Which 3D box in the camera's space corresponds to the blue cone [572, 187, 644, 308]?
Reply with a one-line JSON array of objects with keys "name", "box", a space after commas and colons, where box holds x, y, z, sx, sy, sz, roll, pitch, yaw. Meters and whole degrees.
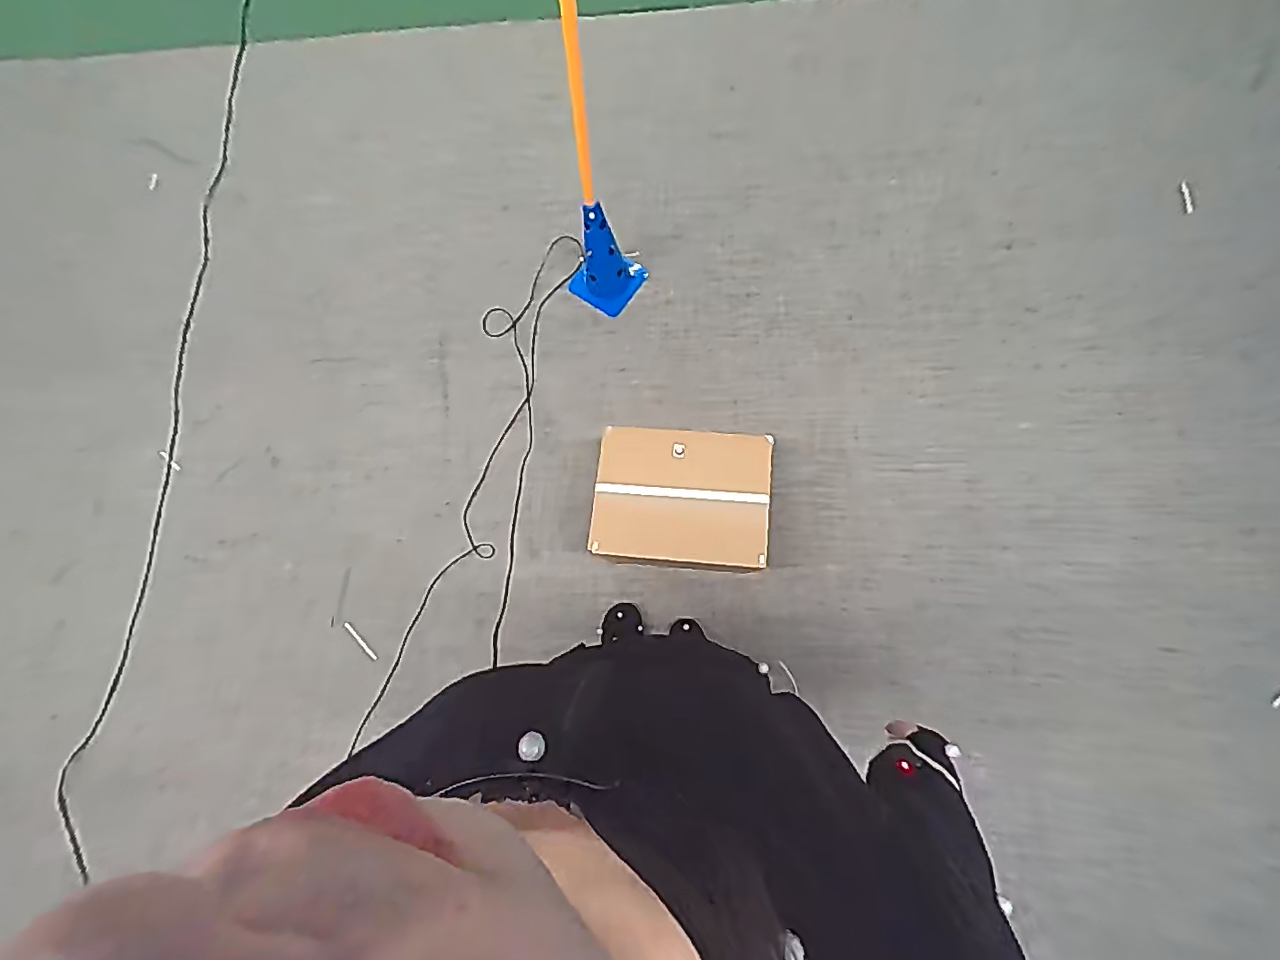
[{"name": "blue cone", "box": [-0.112, -0.687, 1.546, 0.192, 0.380, 0.193, 32, 81, 10]}]
